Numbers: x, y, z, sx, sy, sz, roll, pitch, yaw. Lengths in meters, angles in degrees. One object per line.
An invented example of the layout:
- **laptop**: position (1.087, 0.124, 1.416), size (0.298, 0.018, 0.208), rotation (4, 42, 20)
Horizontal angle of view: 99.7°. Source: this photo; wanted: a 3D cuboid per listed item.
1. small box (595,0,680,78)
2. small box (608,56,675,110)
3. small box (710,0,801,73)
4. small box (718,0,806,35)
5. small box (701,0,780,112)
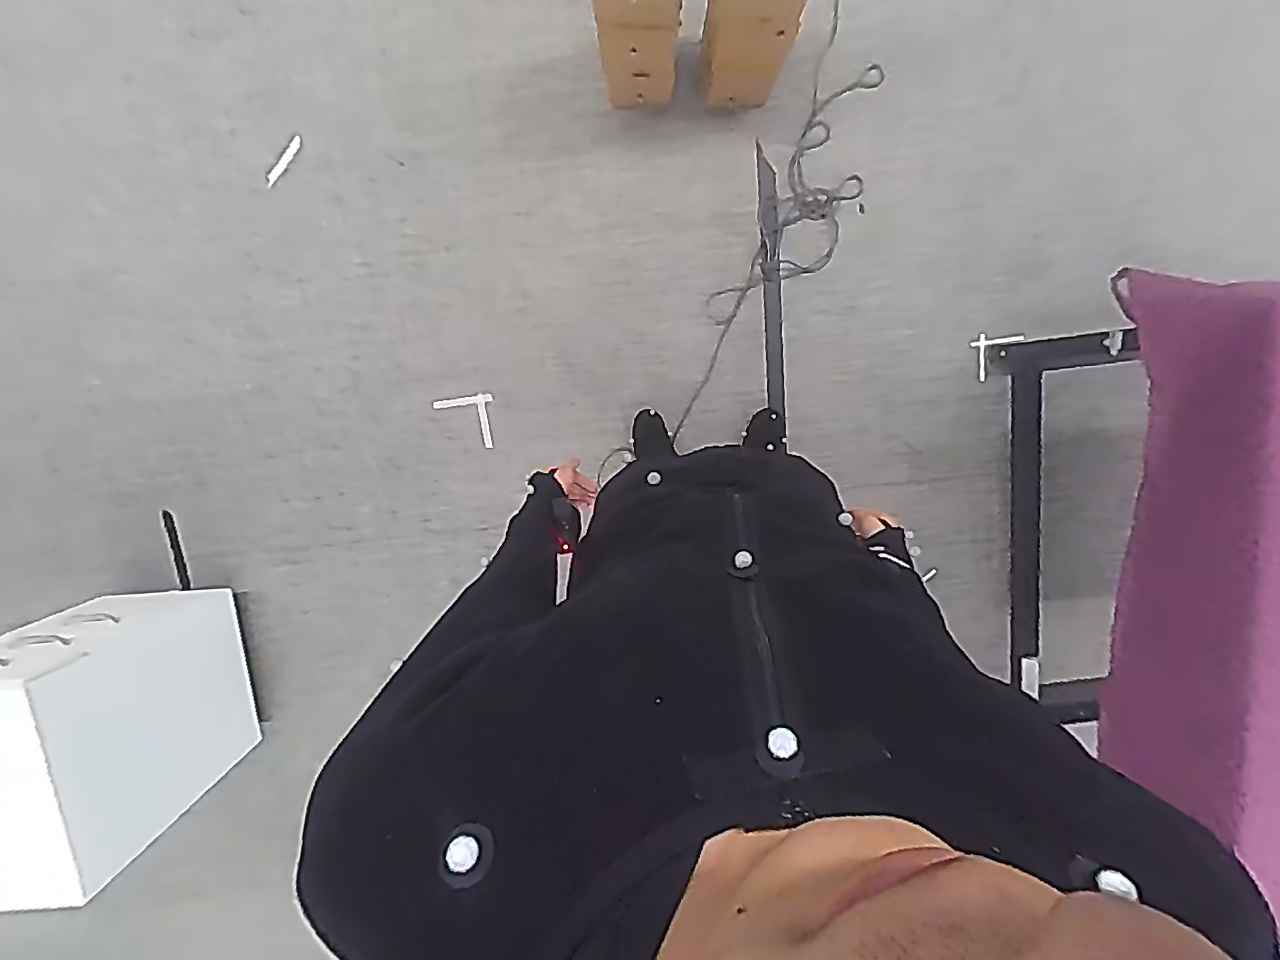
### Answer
- **small box**: position (-0.002, -1.031, 1.202), size (0.179, 0.176, 0.168), rotation (4, 99, 0)
- **small box**: position (0.002, -1.072, 1.362), size (0.168, 0.176, 0.179), rotation (0, 99, 0)
- **small box**: position (0.250, -1.046, 1.206), size (0.179, 0.176, 0.168), rotation (-3, 99, 0)
- **small box**: position (0.248, -1.018, 1.044), size (0.168, 0.176, 0.179), rotation (4, 98, -1)
- **small box**: position (0.248, -1.072, 1.366), size (0.168, 0.176, 0.179), rotation (-5, 99, 1)
